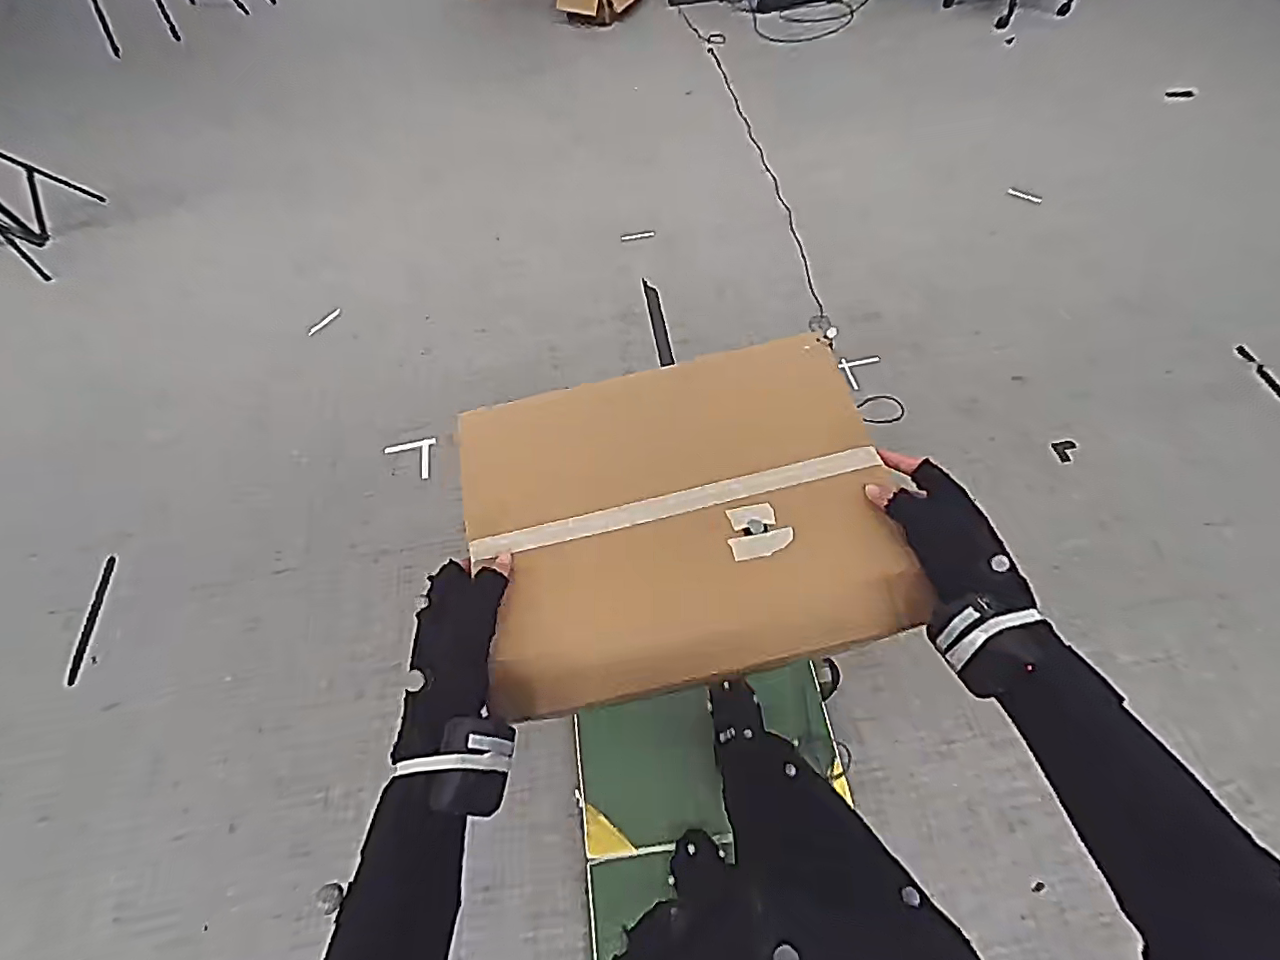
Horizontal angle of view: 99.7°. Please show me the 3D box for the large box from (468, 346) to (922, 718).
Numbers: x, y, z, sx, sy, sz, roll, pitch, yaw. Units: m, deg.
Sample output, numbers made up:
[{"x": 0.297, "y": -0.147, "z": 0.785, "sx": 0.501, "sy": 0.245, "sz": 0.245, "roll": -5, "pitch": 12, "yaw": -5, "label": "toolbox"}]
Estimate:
[{"x": 0.043, "y": 0.089, "z": 0.681, "sx": 0.408, "sy": 0.320, "sz": 0.320, "roll": -13, "pitch": 67, "yaw": -2, "label": "large box"}]
